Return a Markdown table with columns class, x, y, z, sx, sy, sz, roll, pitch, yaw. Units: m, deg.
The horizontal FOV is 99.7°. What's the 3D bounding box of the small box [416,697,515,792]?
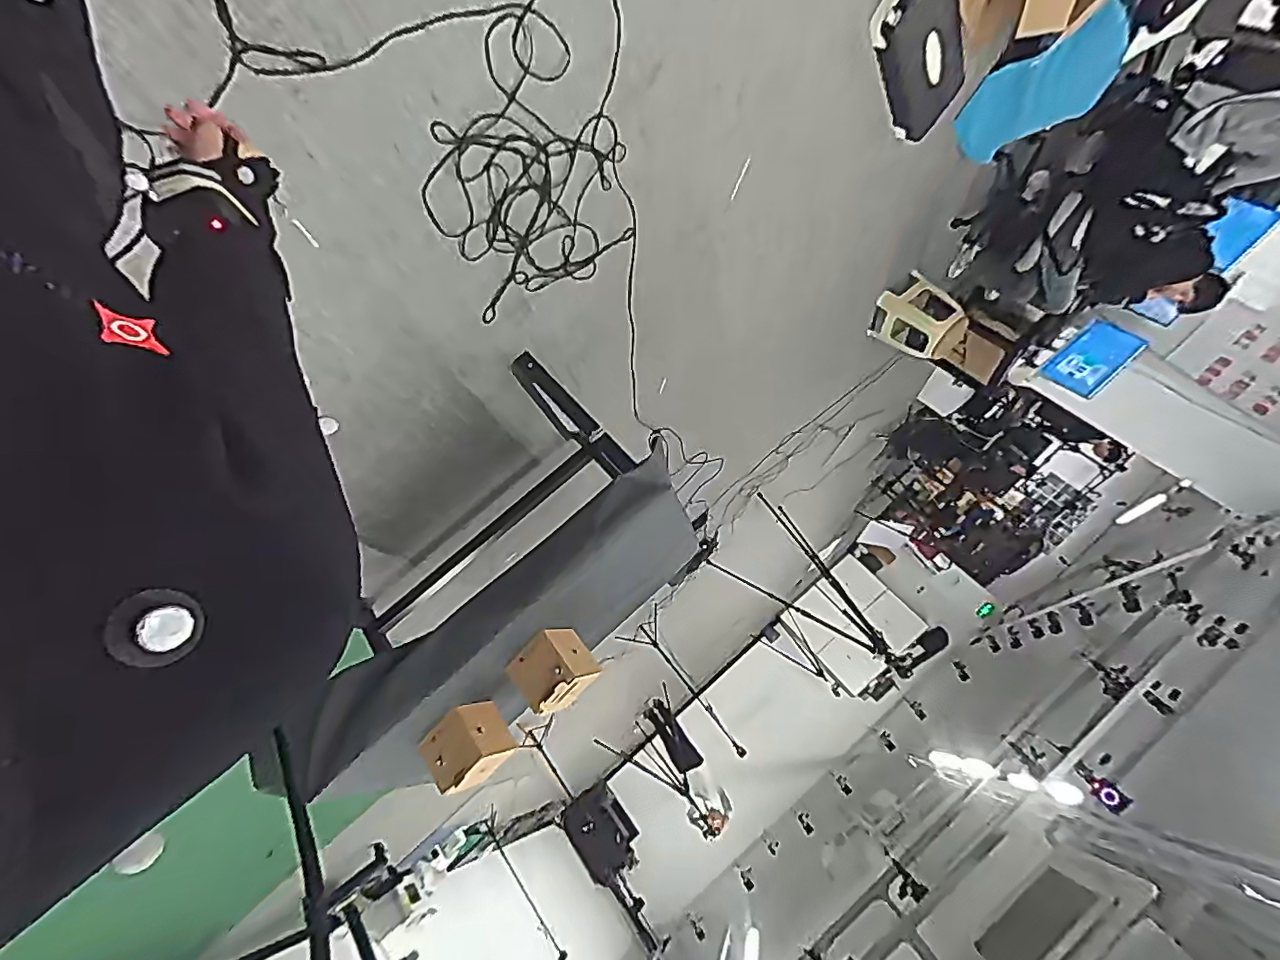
| class | x | y | z | sx | sy | sz | roll | pitch | yaw |
| --- | --- | --- | --- | --- | --- | --- | --- | --- | --- |
| small box | -0.506 | 0.753 | 1.560 | 0.168 | 0.176 | 0.179 | -44 | 155 | 5 |
